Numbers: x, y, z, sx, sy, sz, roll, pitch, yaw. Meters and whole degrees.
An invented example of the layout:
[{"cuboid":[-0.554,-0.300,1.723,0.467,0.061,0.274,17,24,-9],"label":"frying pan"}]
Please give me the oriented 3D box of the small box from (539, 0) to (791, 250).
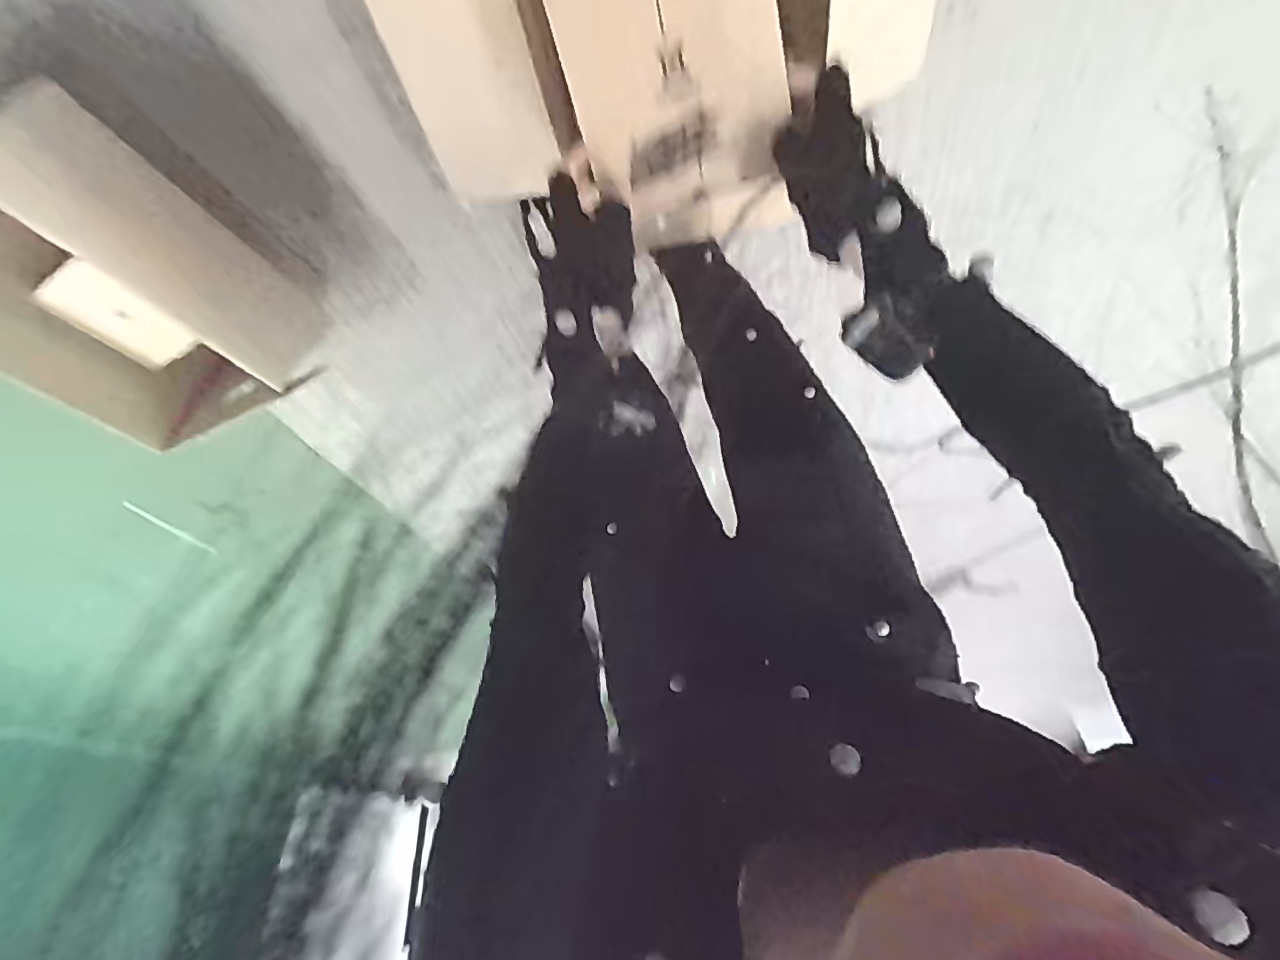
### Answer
[{"cuboid":[0.034,-0.328,0.490,0.168,0.176,0.179,-12,114,13],"label":"small box"}]
